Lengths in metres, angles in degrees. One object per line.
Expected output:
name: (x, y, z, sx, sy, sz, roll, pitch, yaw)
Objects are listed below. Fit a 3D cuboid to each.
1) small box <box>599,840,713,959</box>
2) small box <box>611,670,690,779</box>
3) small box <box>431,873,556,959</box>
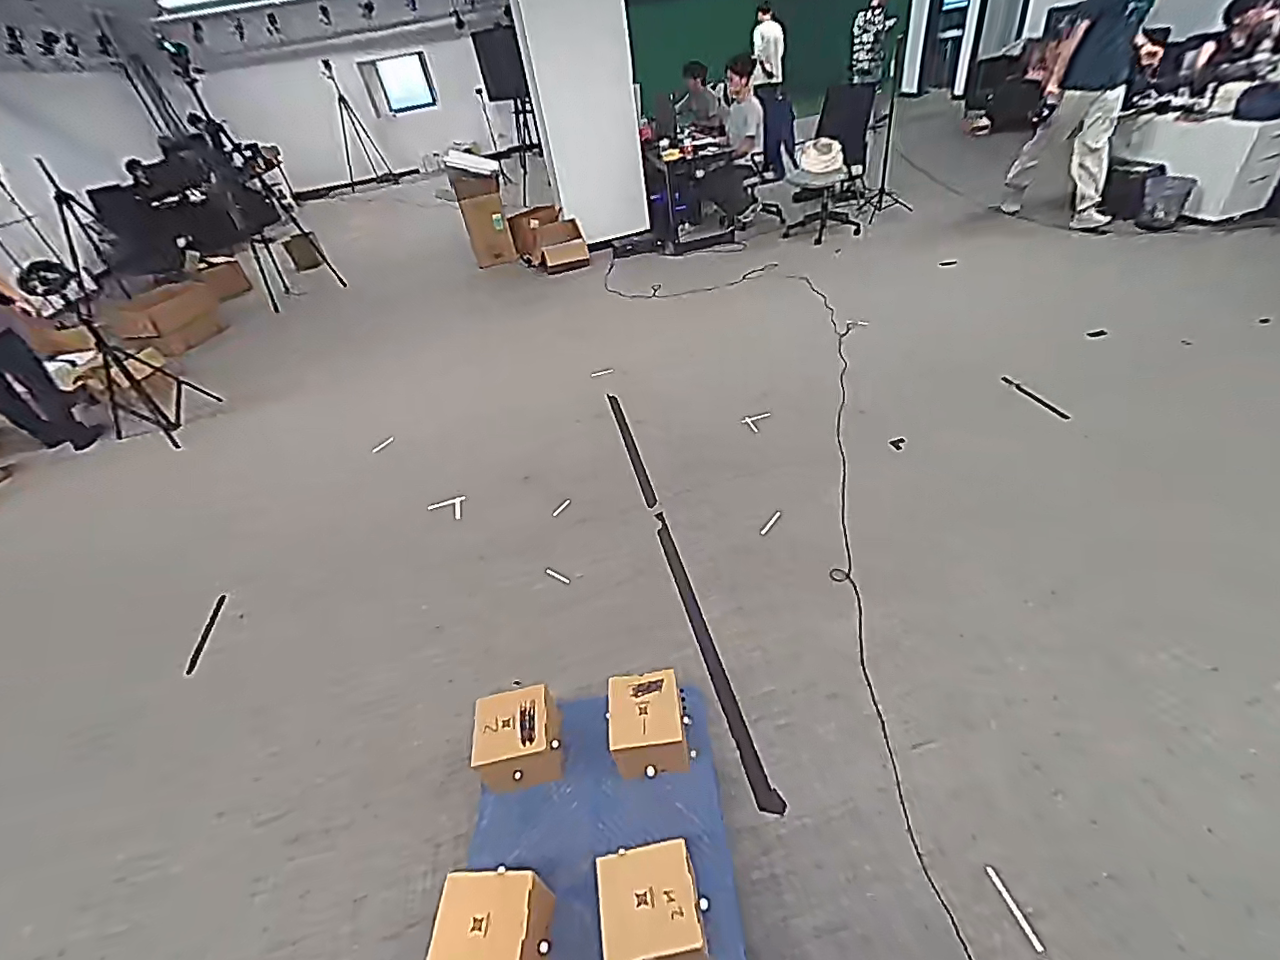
small box: (0.031, 0.820, 1.024, 0.179, 0.176, 0.168, -13, 39, -1)
small box: (0.025, 0.590, 1.303, 0.168, 0.176, 0.179, -9, 40, 3)
small box: (-0.273, 0.876, 1.033, 0.179, 0.176, 0.168, -5, 39, 5)
